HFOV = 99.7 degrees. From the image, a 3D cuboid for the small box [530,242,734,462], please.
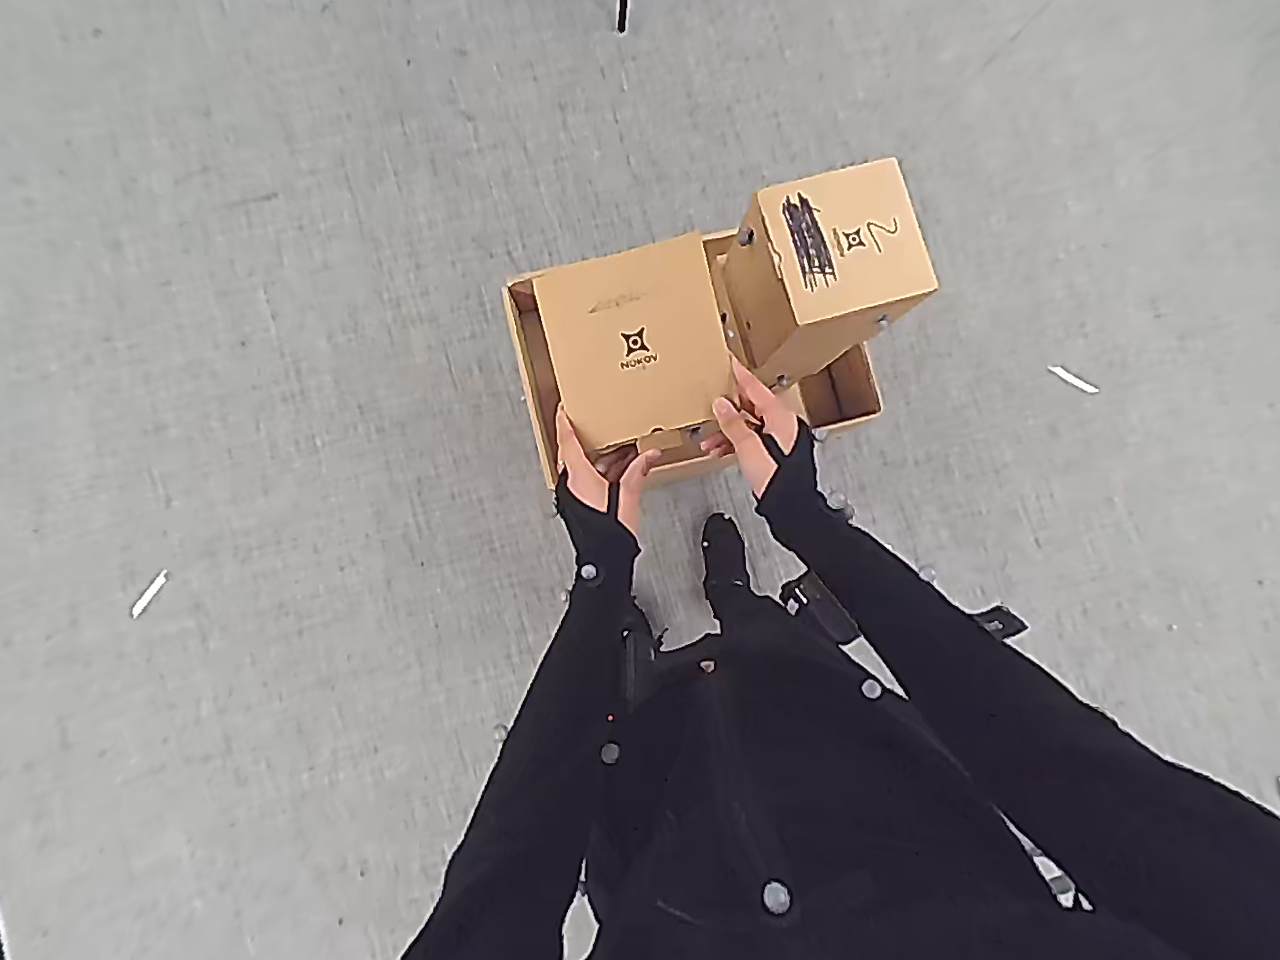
[{"bbox_3d":[0.000,-0.126,0.587,0.168,0.176,0.179,-13,94,5],"label":"small box"}]
